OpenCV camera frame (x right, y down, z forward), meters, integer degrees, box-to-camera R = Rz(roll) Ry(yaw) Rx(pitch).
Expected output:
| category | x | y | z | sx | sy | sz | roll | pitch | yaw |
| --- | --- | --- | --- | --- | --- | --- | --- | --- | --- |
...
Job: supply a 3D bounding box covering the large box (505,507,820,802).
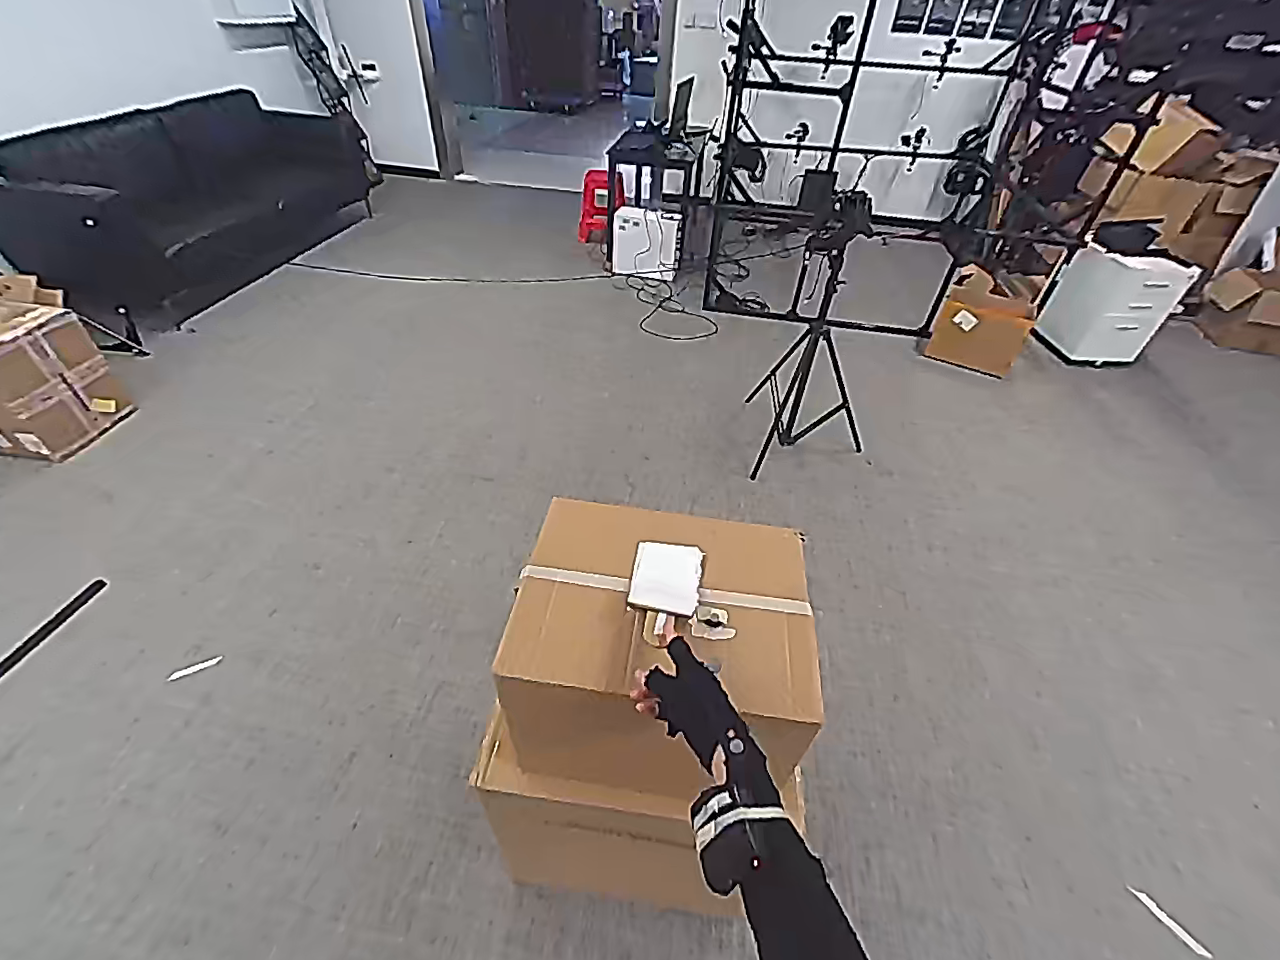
| category | x | y | z | sx | sy | sz | roll | pitch | yaw |
| --- | --- | --- | --- | --- | --- | --- | --- | --- | --- |
| large box | 0.030 | 0.278 | 0.875 | 0.408 | 0.320 | 0.320 | 7 | 42 | 3 |
